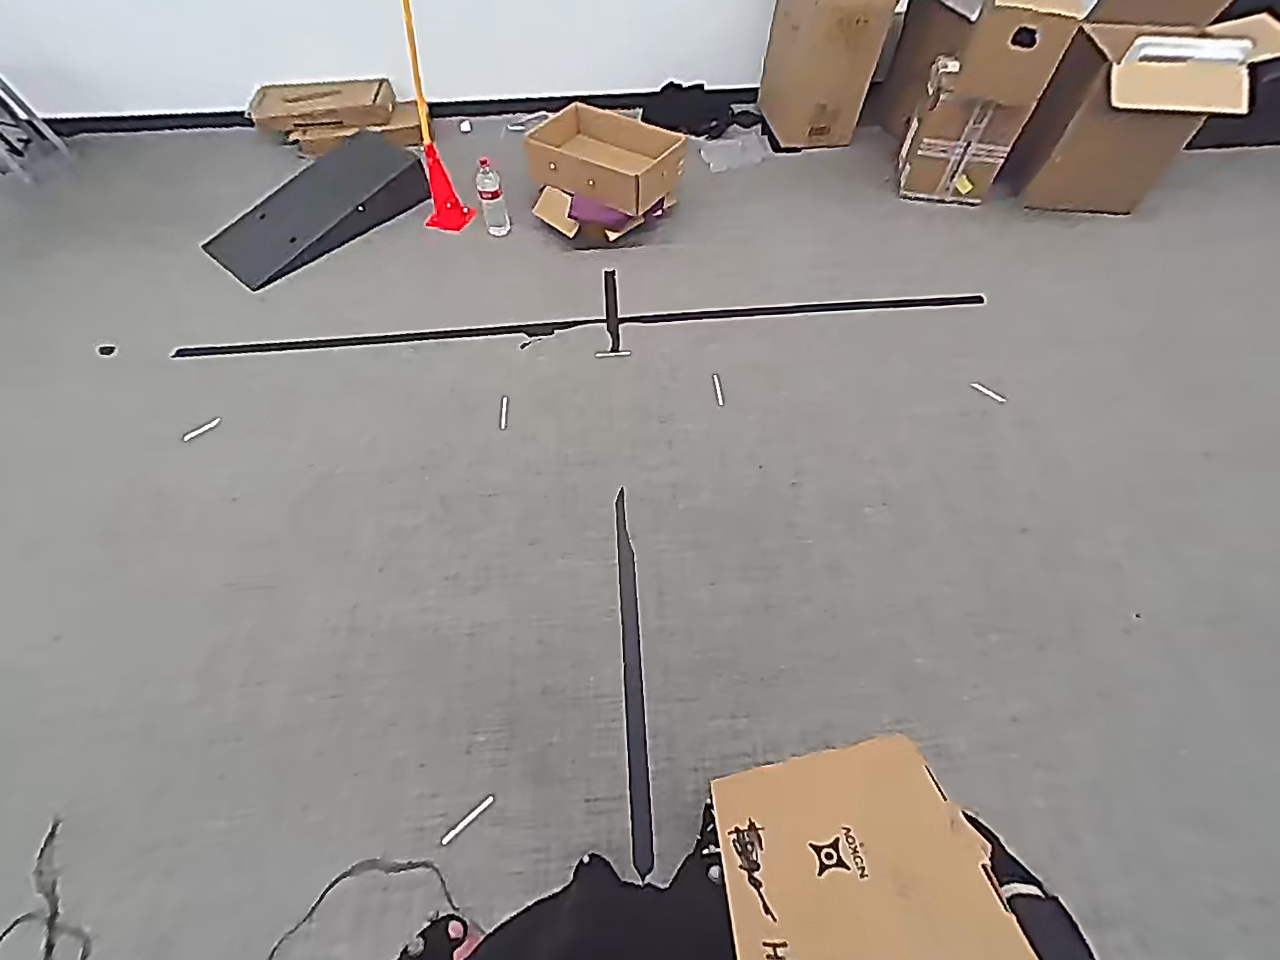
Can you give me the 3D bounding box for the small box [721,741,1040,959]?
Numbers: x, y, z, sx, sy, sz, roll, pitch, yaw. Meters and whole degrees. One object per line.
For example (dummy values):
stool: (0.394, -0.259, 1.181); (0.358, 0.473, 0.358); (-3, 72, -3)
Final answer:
small box: (0.177, 0.349, 0.429); (0.179, 0.176, 0.168); (-16, 22, 6)
